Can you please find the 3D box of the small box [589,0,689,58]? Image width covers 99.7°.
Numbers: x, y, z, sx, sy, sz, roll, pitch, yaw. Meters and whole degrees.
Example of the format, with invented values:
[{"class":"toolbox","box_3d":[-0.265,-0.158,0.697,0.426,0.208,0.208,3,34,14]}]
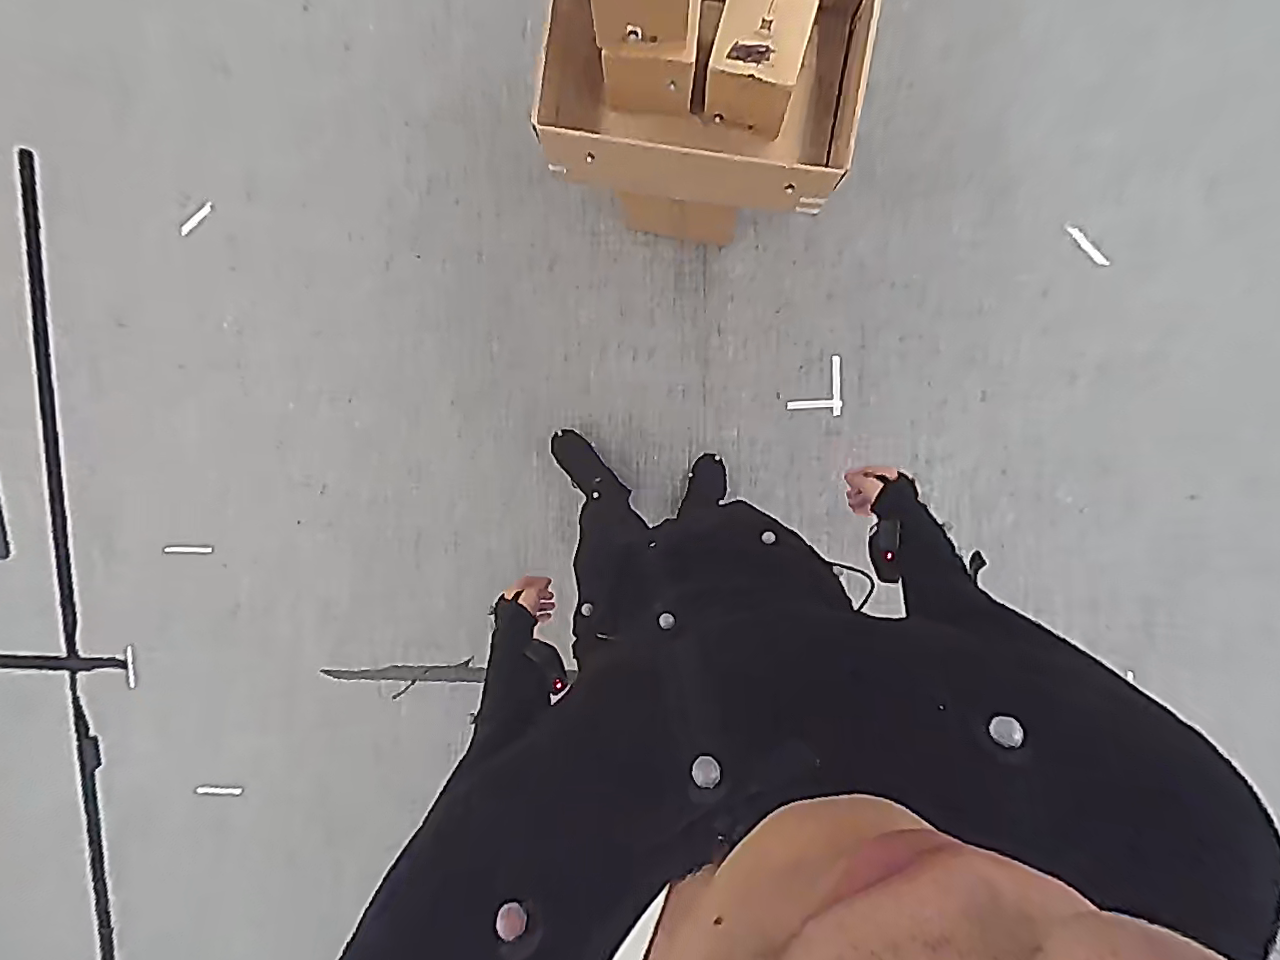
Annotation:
[{"class":"small box","box_3d":[-0.002,-0.859,0.906,0.168,0.176,0.179,0,94,2]}]
